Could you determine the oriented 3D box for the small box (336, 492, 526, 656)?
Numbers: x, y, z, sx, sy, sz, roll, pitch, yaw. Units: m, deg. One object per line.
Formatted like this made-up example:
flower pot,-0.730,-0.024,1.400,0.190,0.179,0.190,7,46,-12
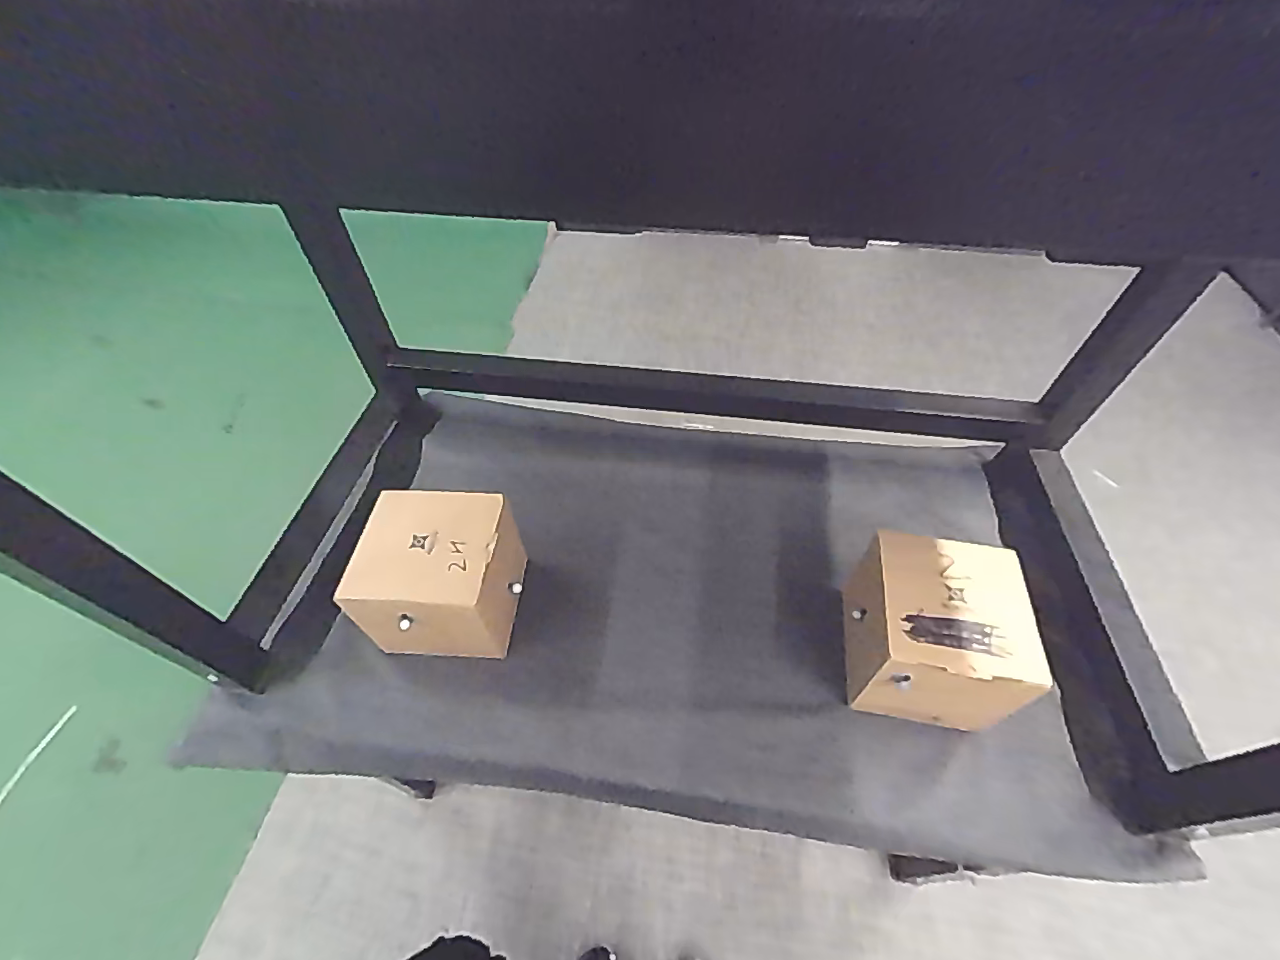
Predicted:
small box,-0.272,0.134,0.752,0.179,0.176,0.168,3,51,3
